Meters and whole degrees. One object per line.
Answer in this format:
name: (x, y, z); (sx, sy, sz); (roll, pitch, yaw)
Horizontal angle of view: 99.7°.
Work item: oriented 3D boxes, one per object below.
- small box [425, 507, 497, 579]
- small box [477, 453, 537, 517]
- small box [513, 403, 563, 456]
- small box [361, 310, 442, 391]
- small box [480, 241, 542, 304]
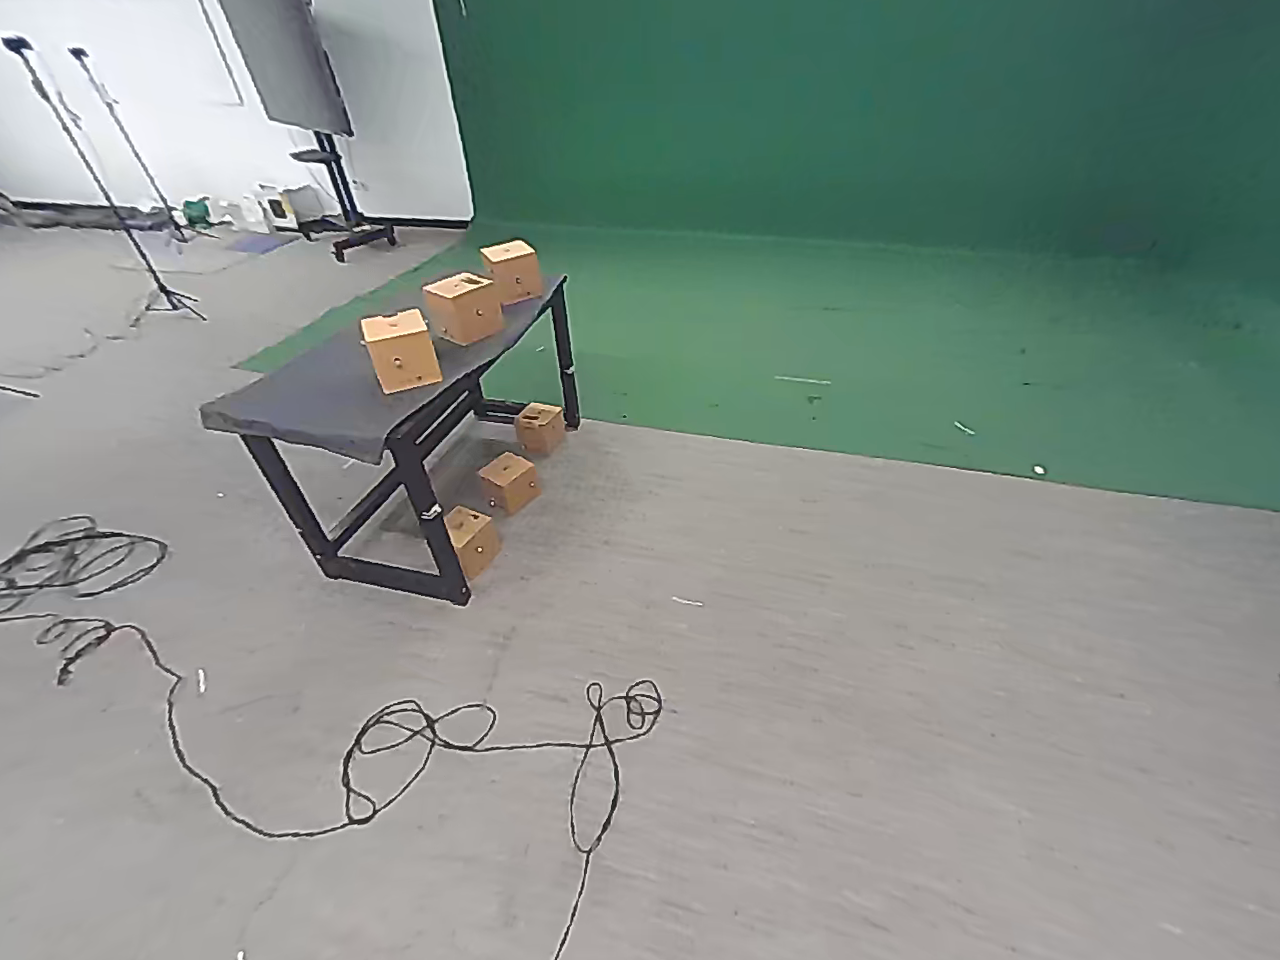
small box: (-0.650, 0.233, 1.991); (0.168, 0.176, 0.179); (18, 44, 21)
small box: (-0.545, 0.020, 2.245); (0.168, 0.176, 0.179); (23, 47, 28)
small box: (-0.474, -0.237, 2.552); (0.168, 0.176, 0.179); (13, 41, 16)
small box: (-0.697, -0.375, 1.587); (0.168, 0.176, 0.179); (-19, 42, -20)
small box: (-0.491, -0.793, 2.076); (0.168, 0.176, 0.179); (-22, 43, -19)
